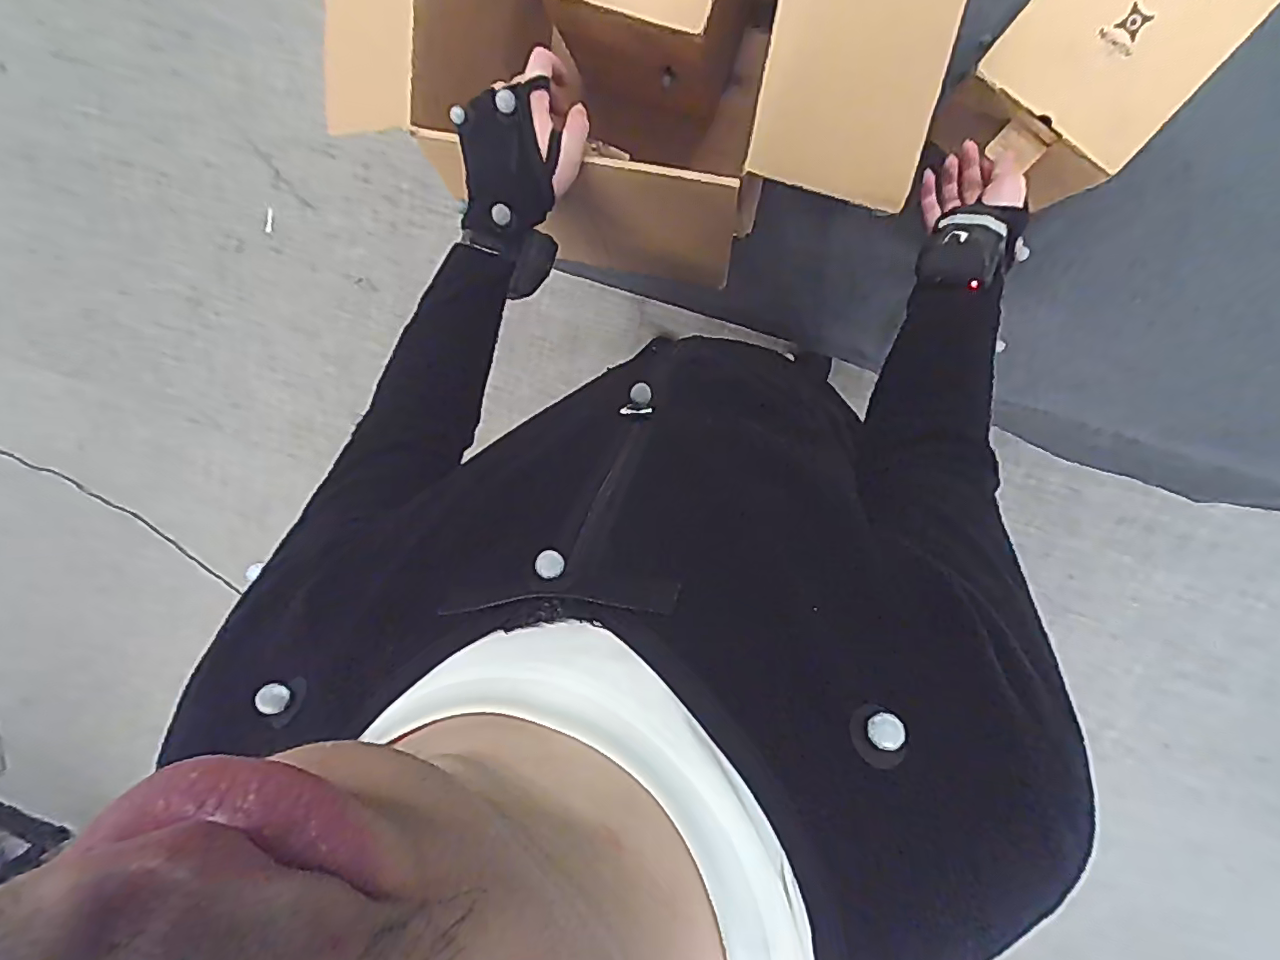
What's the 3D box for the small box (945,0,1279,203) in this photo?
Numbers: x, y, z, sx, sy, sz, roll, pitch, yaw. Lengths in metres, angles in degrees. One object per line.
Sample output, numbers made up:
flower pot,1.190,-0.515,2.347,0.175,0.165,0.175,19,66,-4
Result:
small box,0.449,-0.421,0.557,0.168,0.176,0.179,42,111,-1
